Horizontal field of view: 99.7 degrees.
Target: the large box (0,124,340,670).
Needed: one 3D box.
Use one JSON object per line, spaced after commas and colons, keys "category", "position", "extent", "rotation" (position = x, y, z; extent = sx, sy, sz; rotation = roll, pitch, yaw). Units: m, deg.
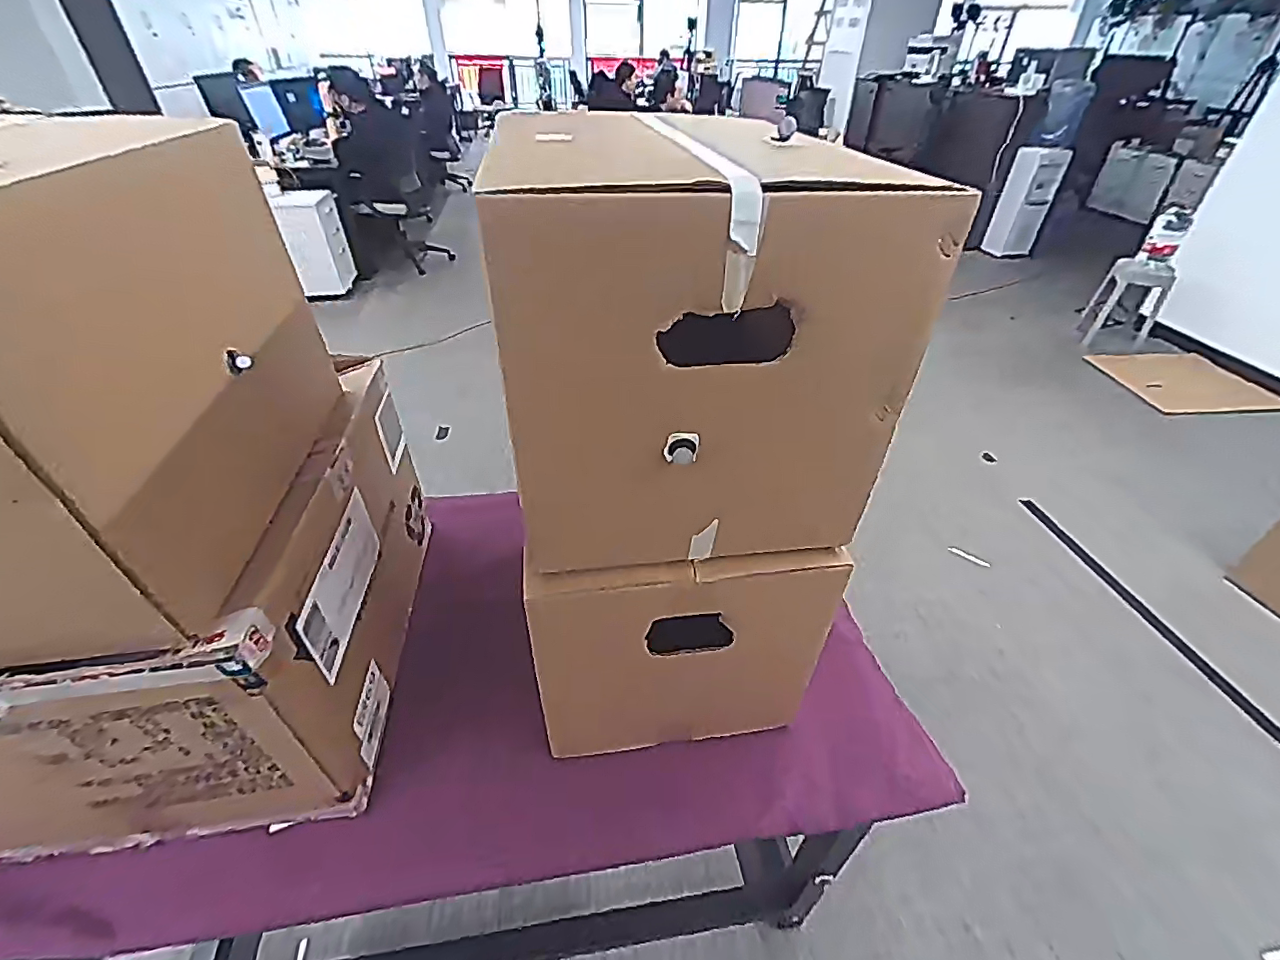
{"category": "large box", "position": [-0.511, -0.096, 0.464], "extent": [0.320, 0.320, 0.408], "rotation": [-7, 40, -7]}
